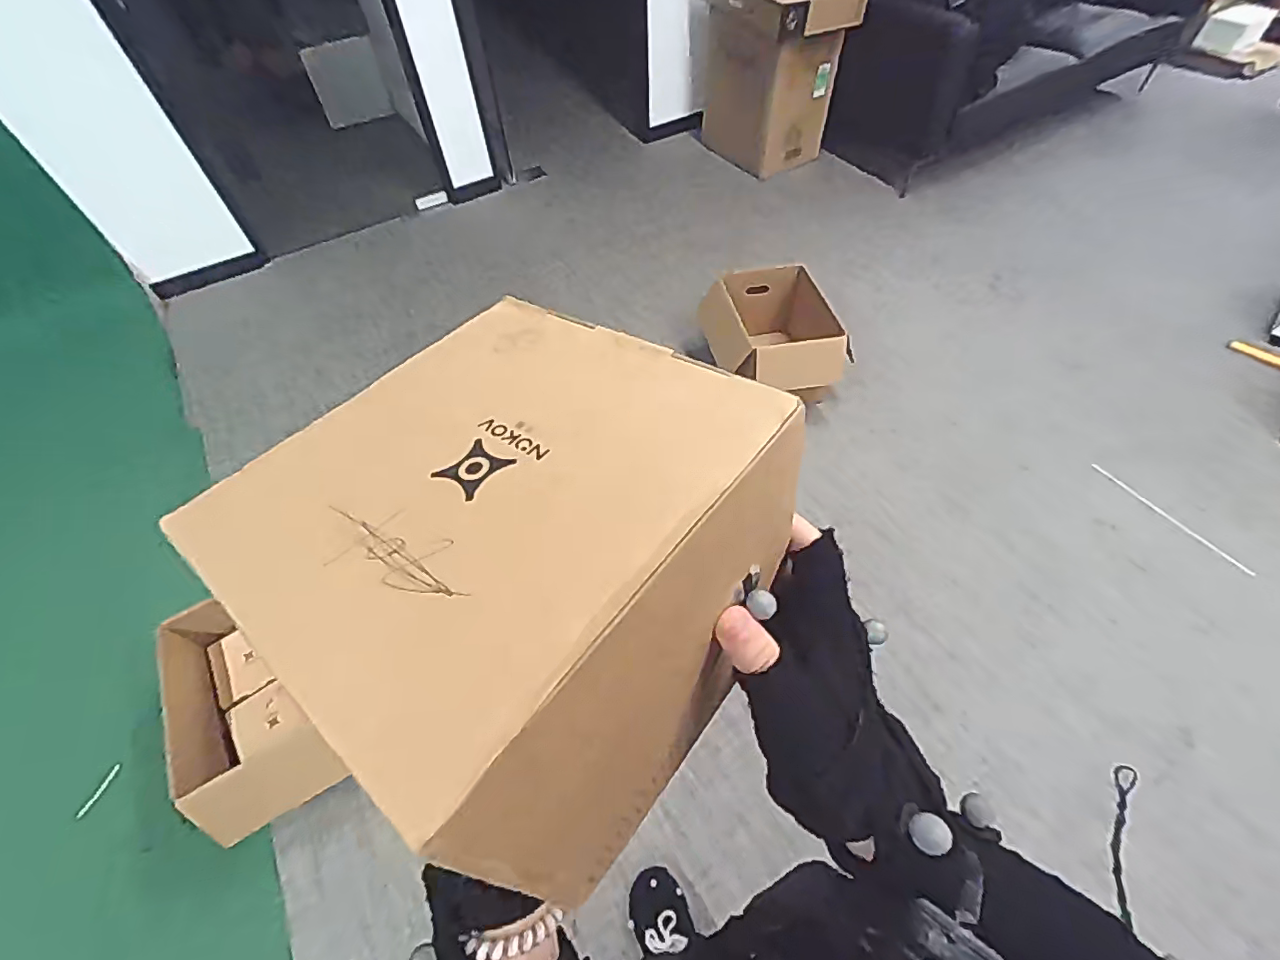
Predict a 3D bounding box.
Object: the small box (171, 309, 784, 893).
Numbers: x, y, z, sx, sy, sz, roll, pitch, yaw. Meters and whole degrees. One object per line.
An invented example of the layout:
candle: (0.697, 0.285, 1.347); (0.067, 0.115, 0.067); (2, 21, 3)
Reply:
small box: (-0.051, 0.051, 0.261); (0.168, 0.176, 0.179); (27, 59, 30)
